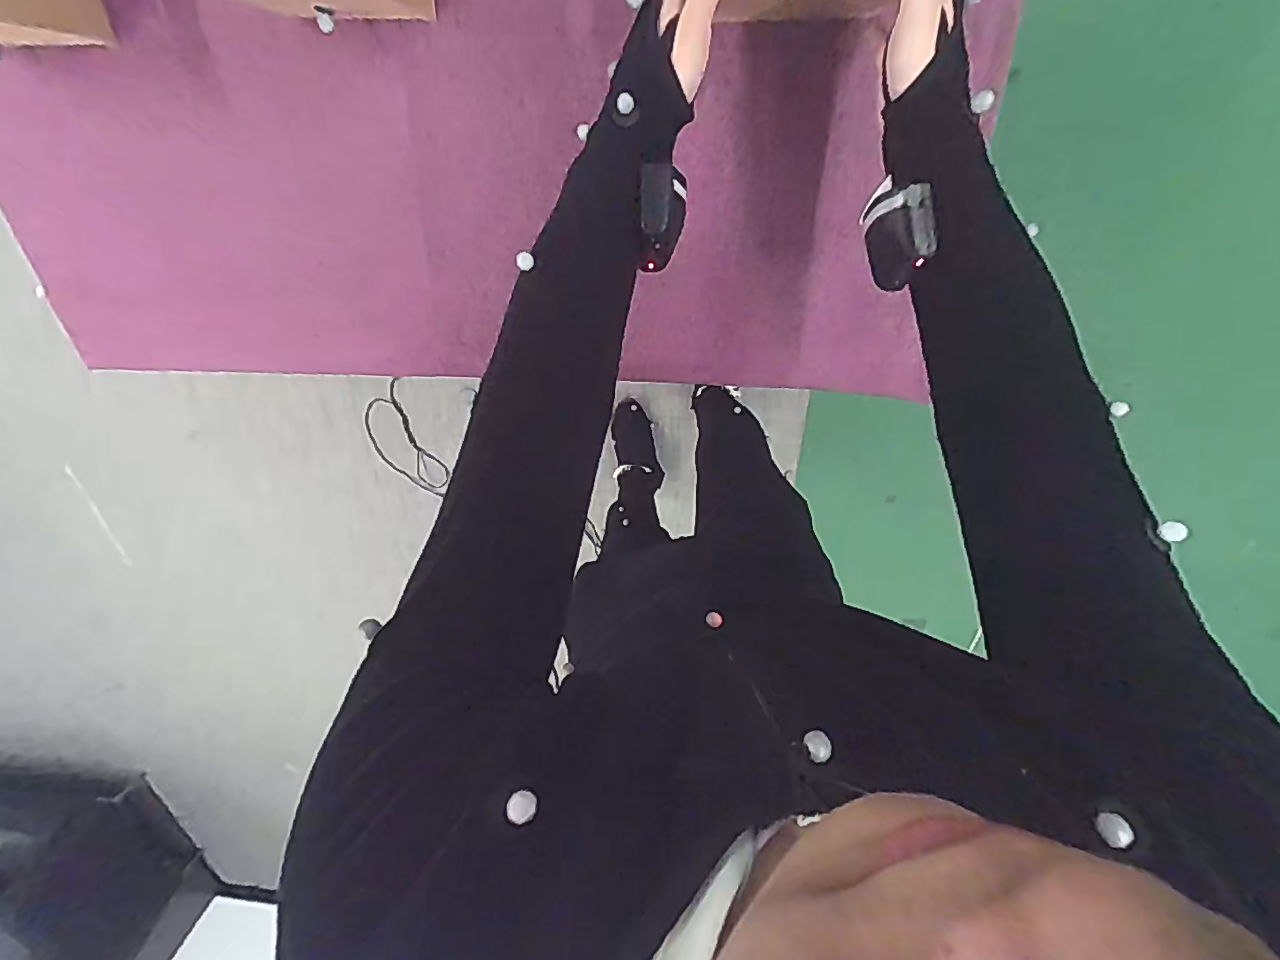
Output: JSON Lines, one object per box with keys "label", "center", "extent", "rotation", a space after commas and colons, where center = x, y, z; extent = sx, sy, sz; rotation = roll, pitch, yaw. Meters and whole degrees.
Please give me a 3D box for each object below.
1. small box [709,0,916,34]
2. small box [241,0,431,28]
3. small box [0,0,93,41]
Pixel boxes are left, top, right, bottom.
{"label": "small box", "center": [0.139, -0.468, 0.412], "extent": [0.168, 0.176, 0.179], "rotation": [4, 122, 6]}
{"label": "small box", "center": [-0.296, -0.505, 0.446], "extent": [0.168, 0.176, 0.179], "rotation": [6, 122, 5]}
{"label": "small box", "center": [-0.671, -0.514, 0.484], "extent": [0.168, 0.176, 0.179], "rotation": [4, 122, 4]}
